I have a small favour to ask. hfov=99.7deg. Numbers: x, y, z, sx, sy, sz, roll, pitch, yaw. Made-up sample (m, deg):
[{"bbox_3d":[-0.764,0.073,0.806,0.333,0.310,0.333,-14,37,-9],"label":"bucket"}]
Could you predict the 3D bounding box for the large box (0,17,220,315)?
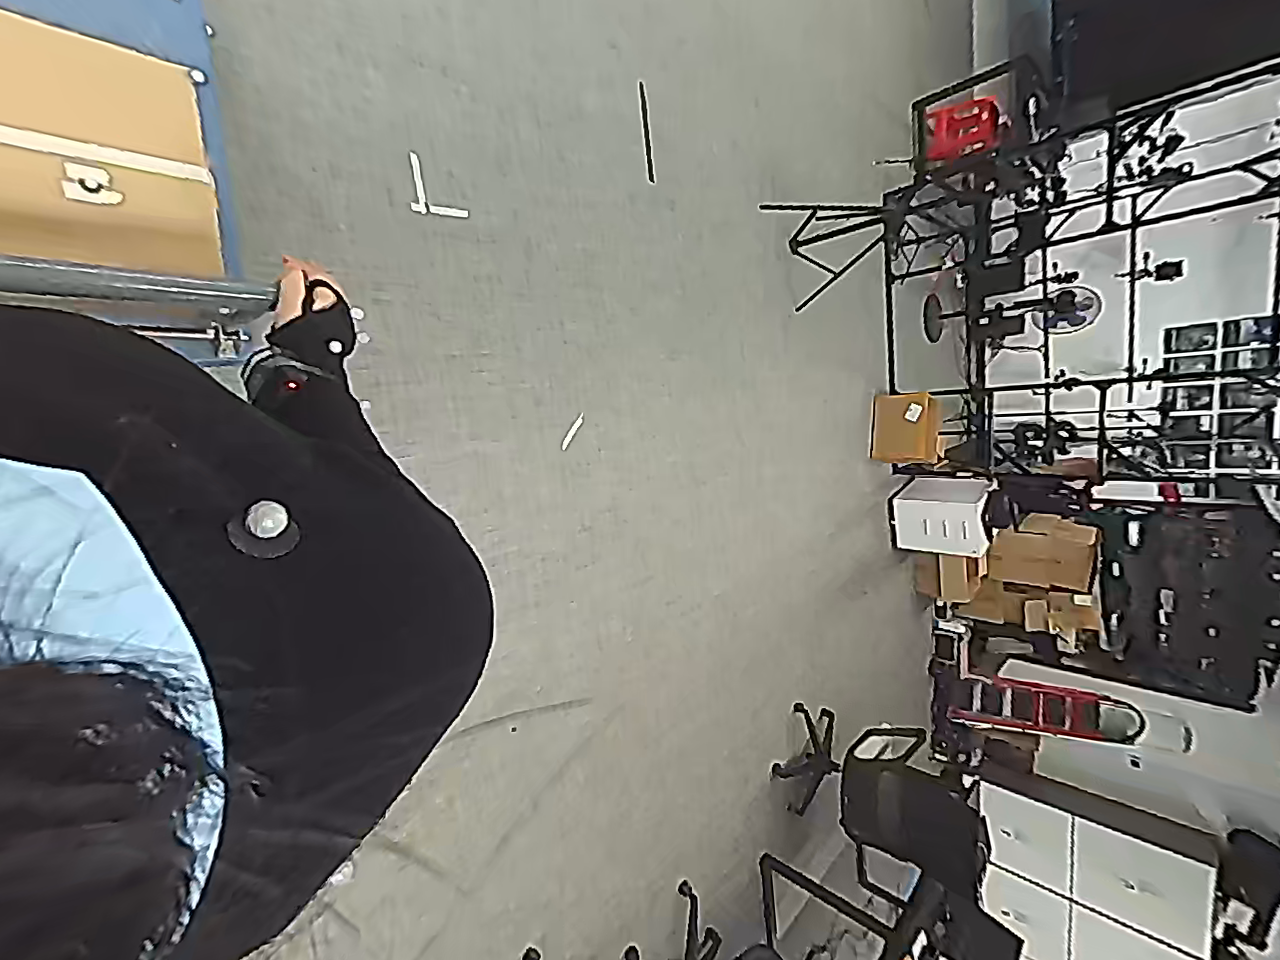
[{"bbox_3d":[-0.917,-0.438,0.794,0.408,0.320,0.320,-11,100,-46],"label":"large box"}]
